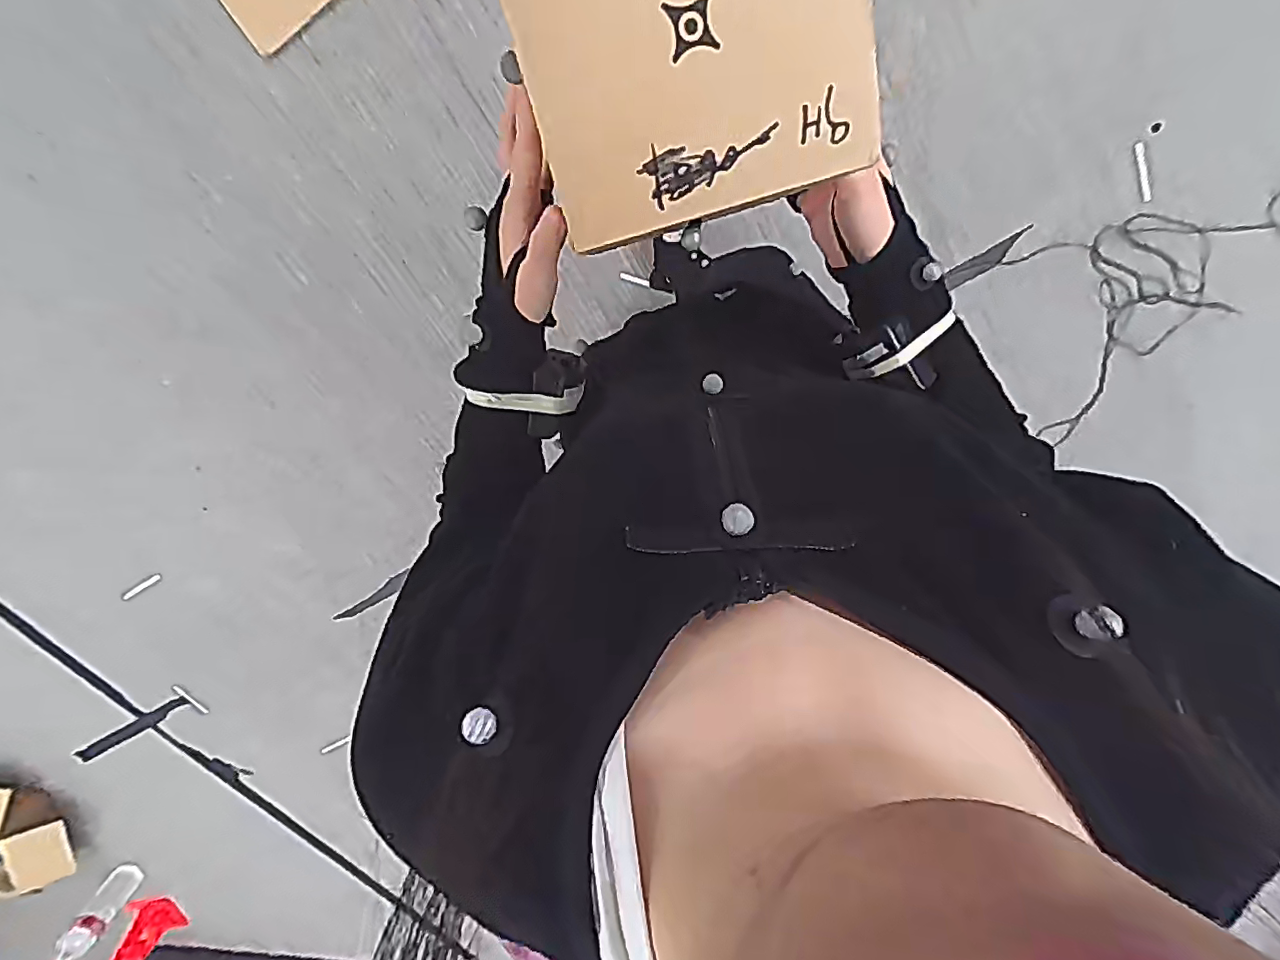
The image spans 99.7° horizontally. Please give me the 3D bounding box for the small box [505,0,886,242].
[{"bbox_3d":[0.016,-0.253,0.313,0.168,0.176,0.179,-16,112,3],"label":"small box"}]
